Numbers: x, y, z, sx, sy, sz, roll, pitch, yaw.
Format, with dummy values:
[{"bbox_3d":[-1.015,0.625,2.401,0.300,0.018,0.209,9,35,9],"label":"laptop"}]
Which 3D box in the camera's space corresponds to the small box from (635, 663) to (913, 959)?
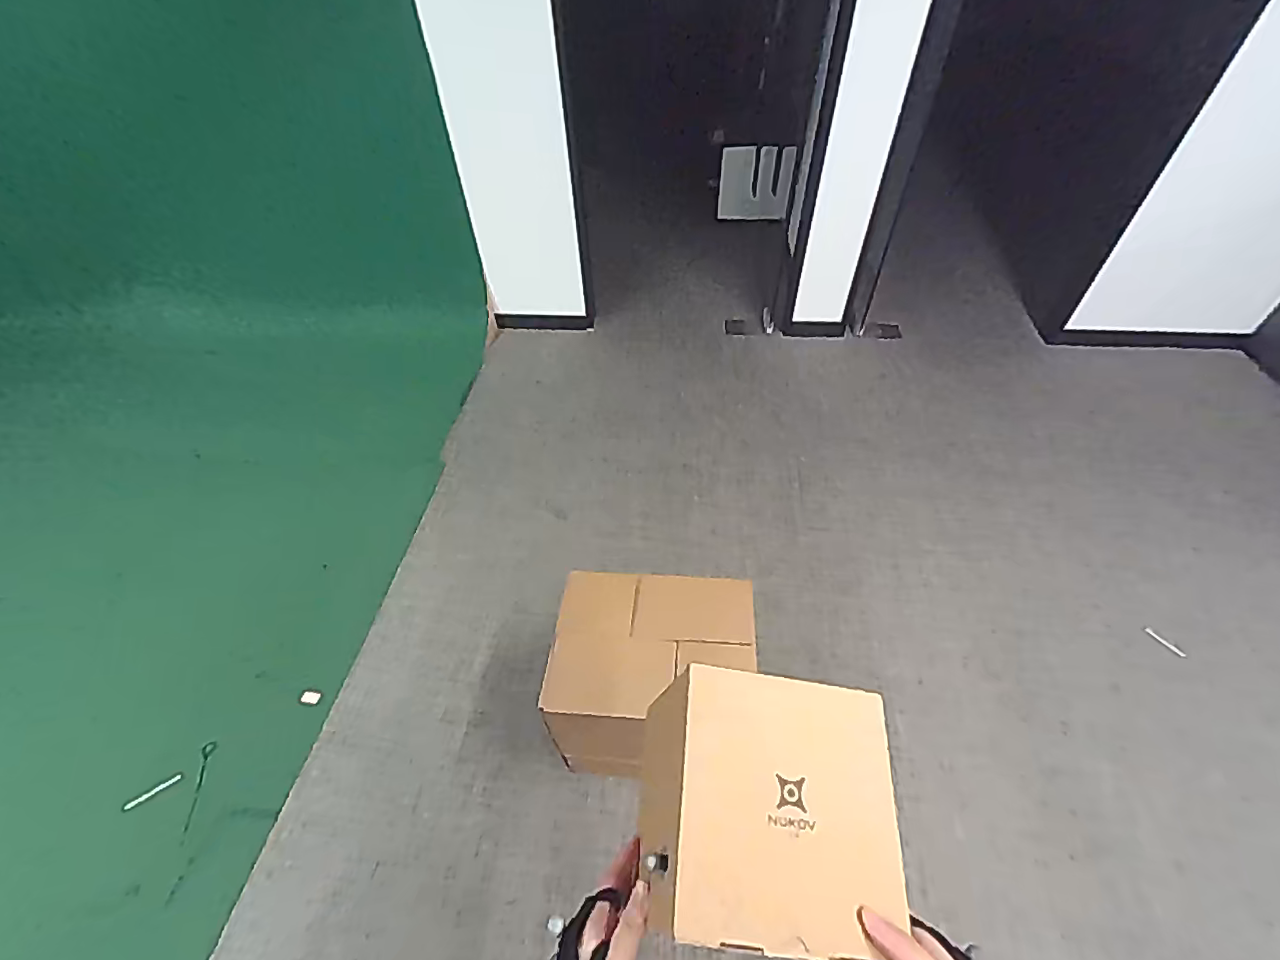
[{"bbox_3d":[0.096,0.276,0.461,0.168,0.176,0.179,11,57,-5],"label":"small box"}]
